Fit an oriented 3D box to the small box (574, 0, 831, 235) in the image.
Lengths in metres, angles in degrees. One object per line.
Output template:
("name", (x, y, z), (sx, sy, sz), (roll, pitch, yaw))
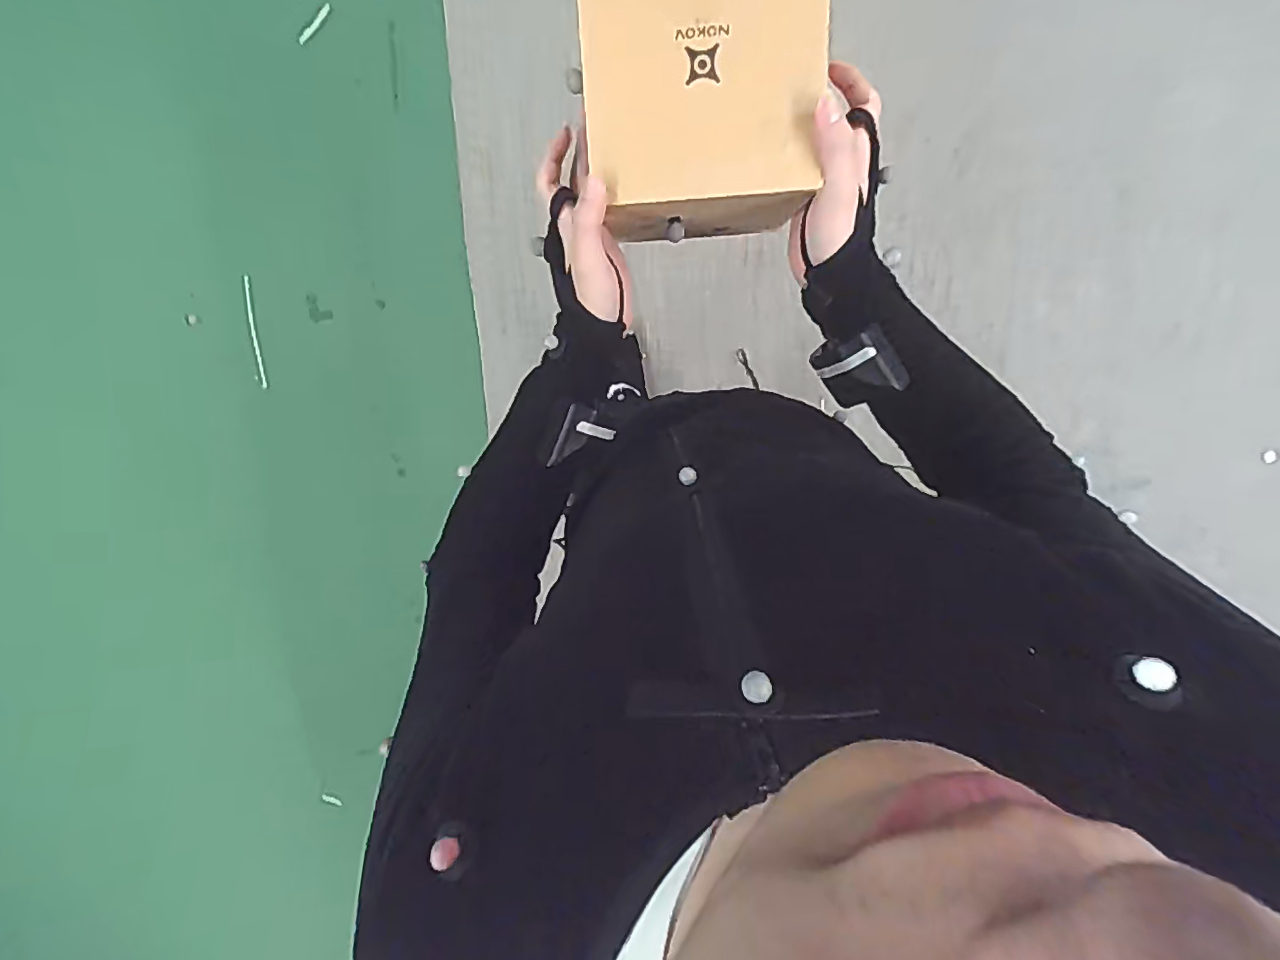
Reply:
("small box", (0.045, -0.299, 0.426), (0.168, 0.176, 0.179), (-2, 104, 4))
